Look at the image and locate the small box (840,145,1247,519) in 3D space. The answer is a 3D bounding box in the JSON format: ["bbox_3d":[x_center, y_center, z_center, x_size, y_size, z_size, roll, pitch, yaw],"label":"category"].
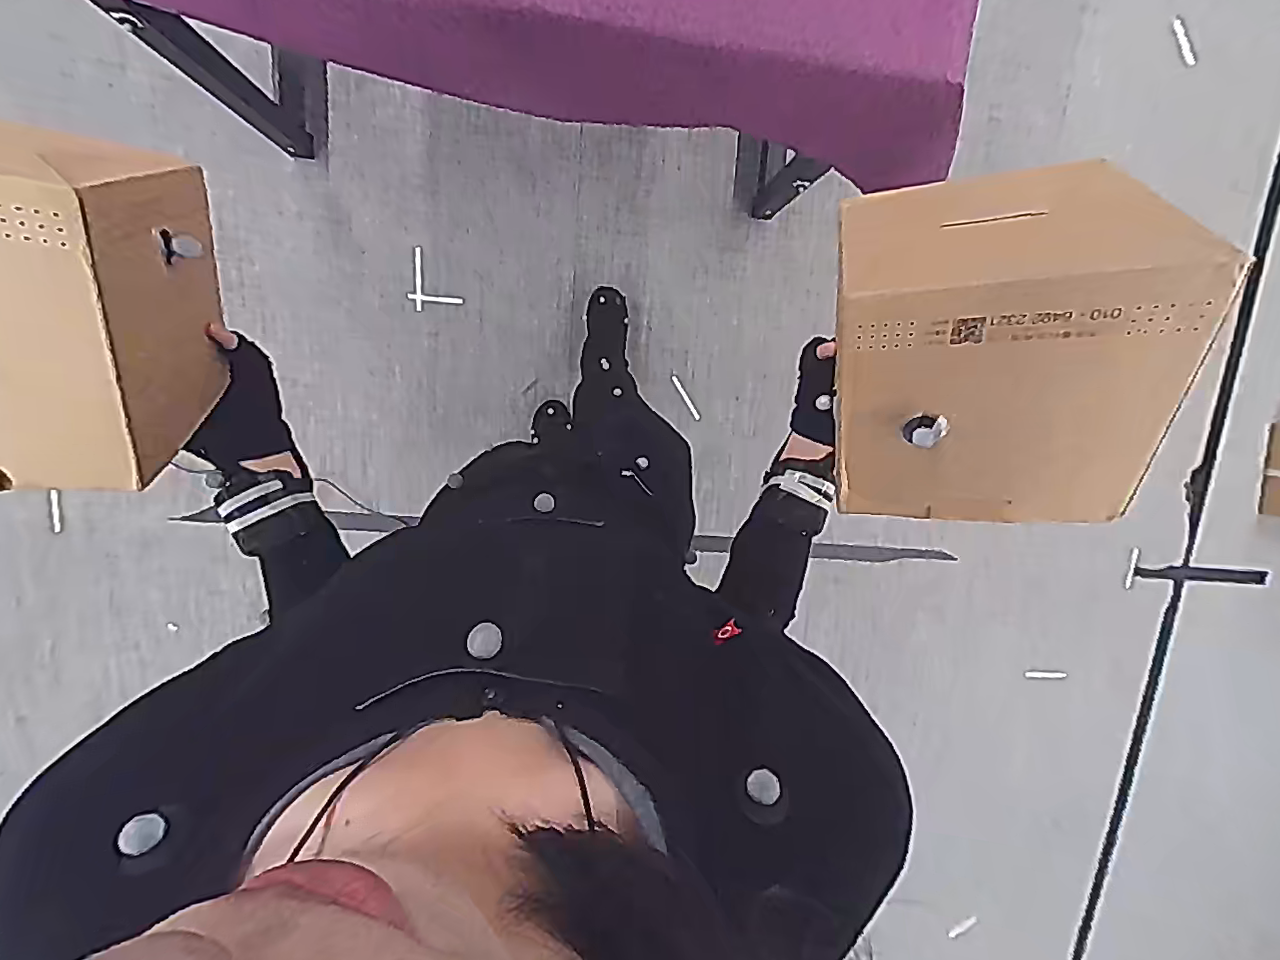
[{"bbox_3d":[0.222,-0.095,0.354,0.168,0.179,0.176,2,133,18],"label":"small box"}]

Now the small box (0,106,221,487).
[{"bbox_3d":[-0.370,-0.113,0.304,0.168,0.179,0.176,3,120,-23],"label":"small box"}]
